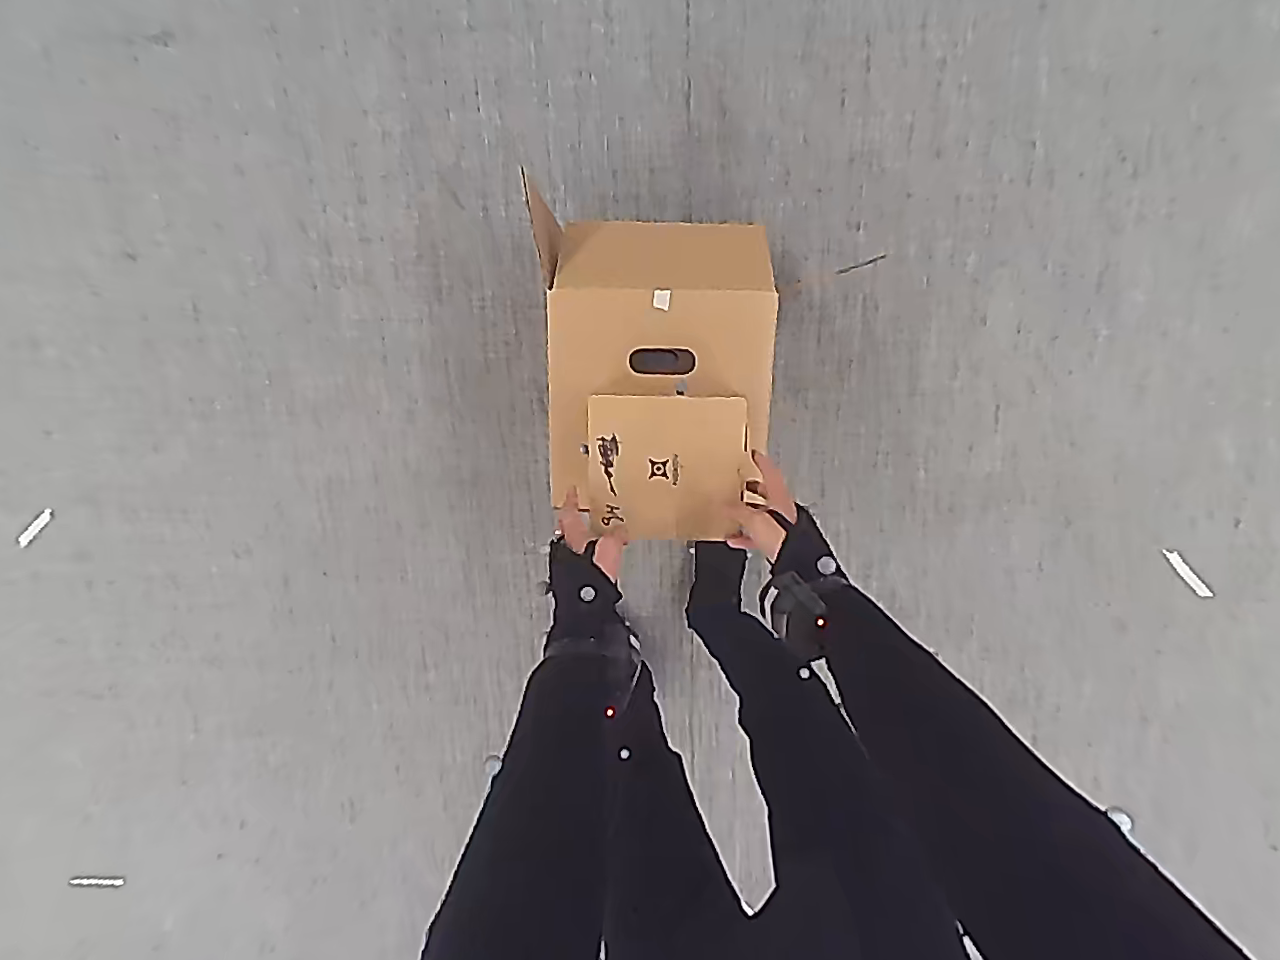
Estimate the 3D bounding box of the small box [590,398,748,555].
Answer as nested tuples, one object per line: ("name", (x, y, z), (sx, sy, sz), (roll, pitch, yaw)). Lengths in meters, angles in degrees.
("small box", (0.031, -0.013, 0.686), (0.179, 0.176, 0.168), (1, 104, 1))
